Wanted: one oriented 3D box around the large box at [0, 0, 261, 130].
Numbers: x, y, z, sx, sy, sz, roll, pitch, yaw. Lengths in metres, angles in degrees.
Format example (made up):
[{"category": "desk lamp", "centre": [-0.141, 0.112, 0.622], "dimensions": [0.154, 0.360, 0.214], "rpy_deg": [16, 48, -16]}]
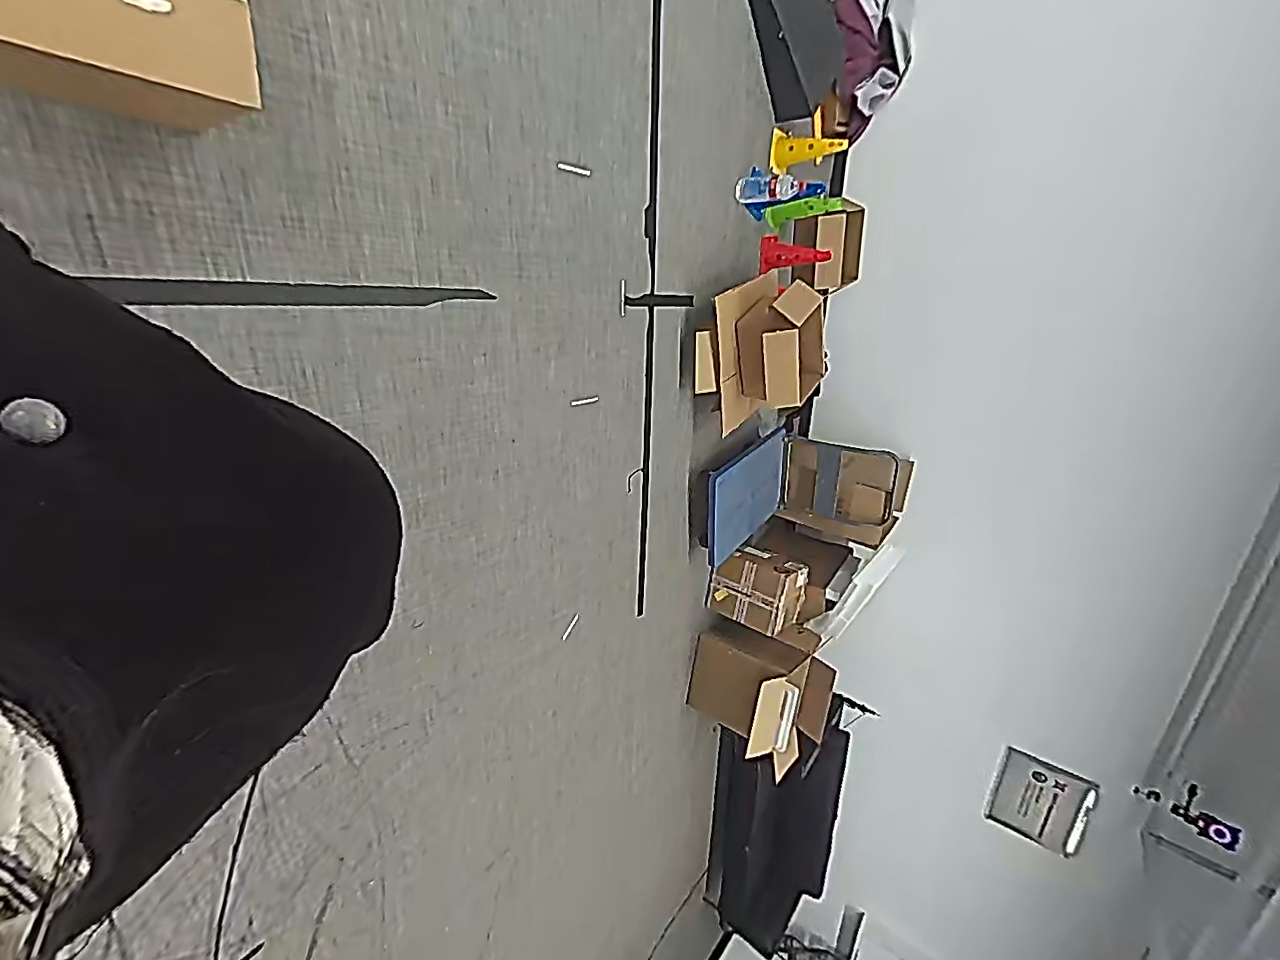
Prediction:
[{"category": "large box", "centre": [-0.871, -0.762, 0.797], "dimensions": [0.408, 0.320, 0.320], "rpy_deg": [-20, 119, -51]}]
